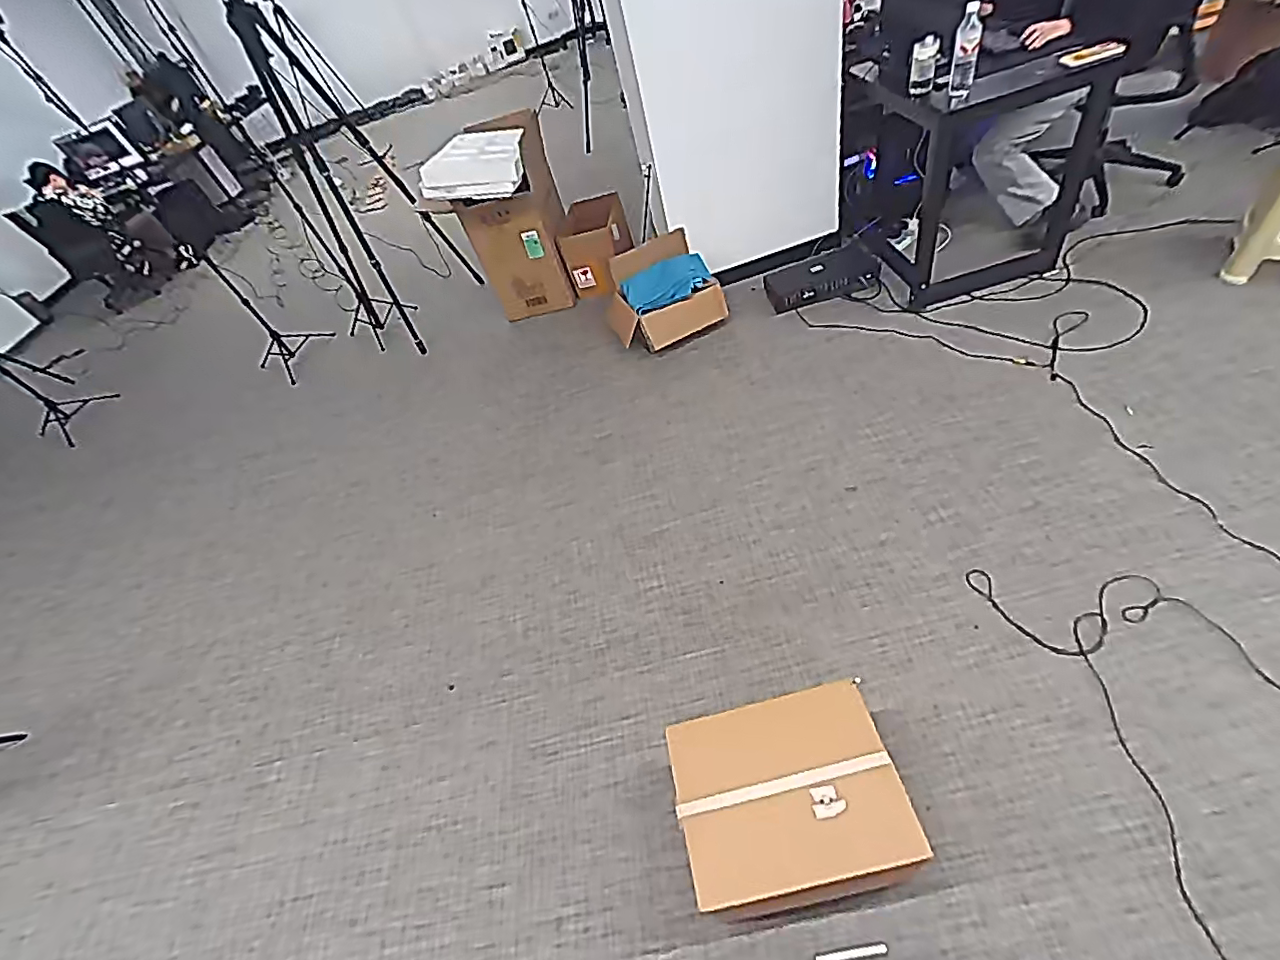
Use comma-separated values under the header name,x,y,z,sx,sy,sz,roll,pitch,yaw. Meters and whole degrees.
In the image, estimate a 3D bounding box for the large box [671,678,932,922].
name,x,y,z,sx,sy,sz,roll,pitch,yaw
large box,0.312,0.669,1.123,0.408,0.320,0.320,-17,46,4
